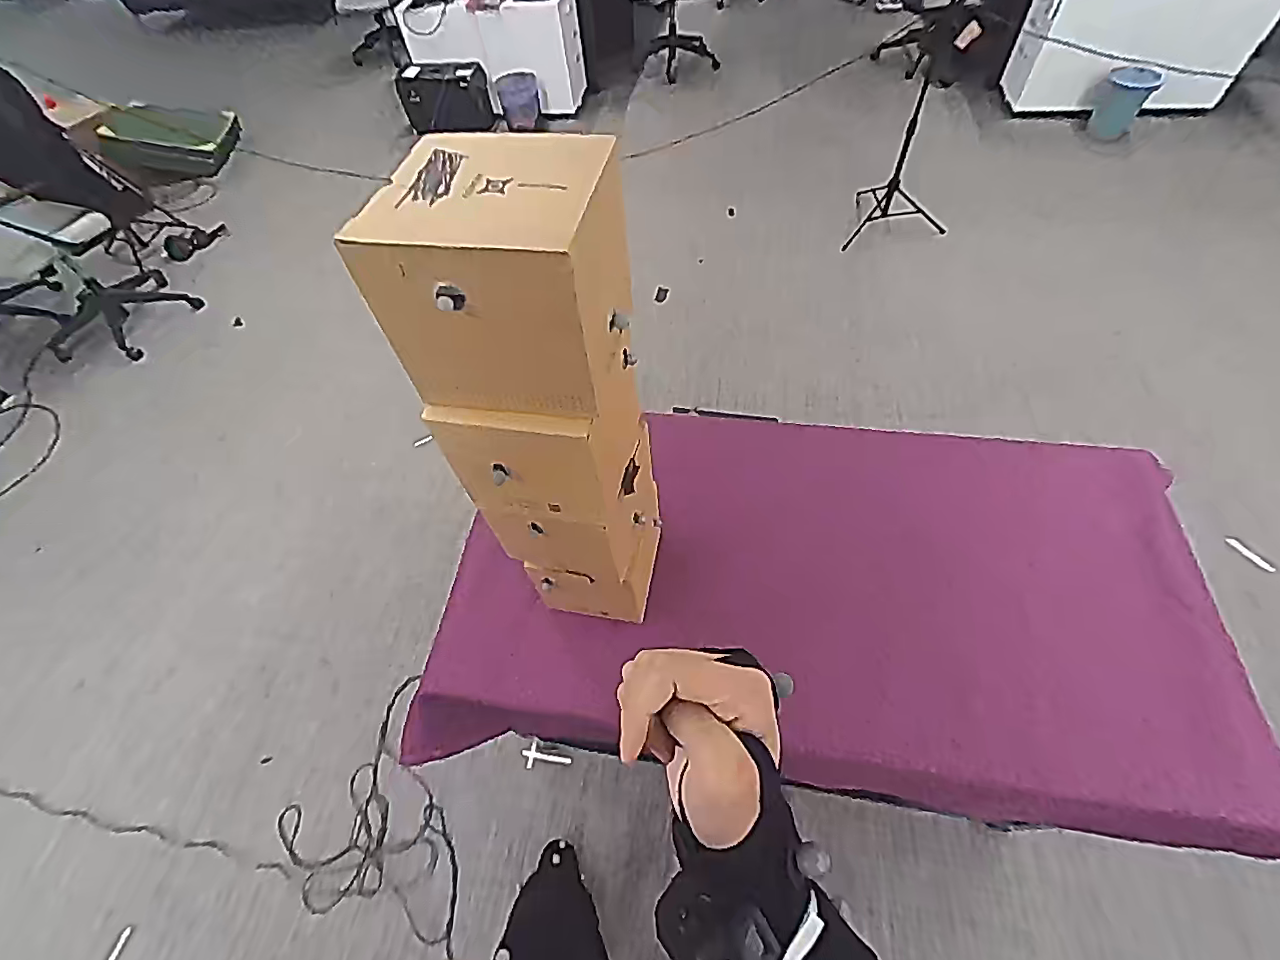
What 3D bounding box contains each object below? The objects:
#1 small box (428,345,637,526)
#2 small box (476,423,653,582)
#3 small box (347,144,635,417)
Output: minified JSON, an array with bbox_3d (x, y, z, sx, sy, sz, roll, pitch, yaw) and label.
[{"bbox_3d":[-0.101,-0.067,0.611,0.168,0.176,0.179,7,55,10],"label":"small box"},{"bbox_3d":[-0.089,0.022,0.746,0.179,0.176,0.168,13,58,13],"label":"small box"},{"bbox_3d":[-0.108,-0.173,0.485,0.179,0.176,0.168,7,56,9],"label":"small box"}]
